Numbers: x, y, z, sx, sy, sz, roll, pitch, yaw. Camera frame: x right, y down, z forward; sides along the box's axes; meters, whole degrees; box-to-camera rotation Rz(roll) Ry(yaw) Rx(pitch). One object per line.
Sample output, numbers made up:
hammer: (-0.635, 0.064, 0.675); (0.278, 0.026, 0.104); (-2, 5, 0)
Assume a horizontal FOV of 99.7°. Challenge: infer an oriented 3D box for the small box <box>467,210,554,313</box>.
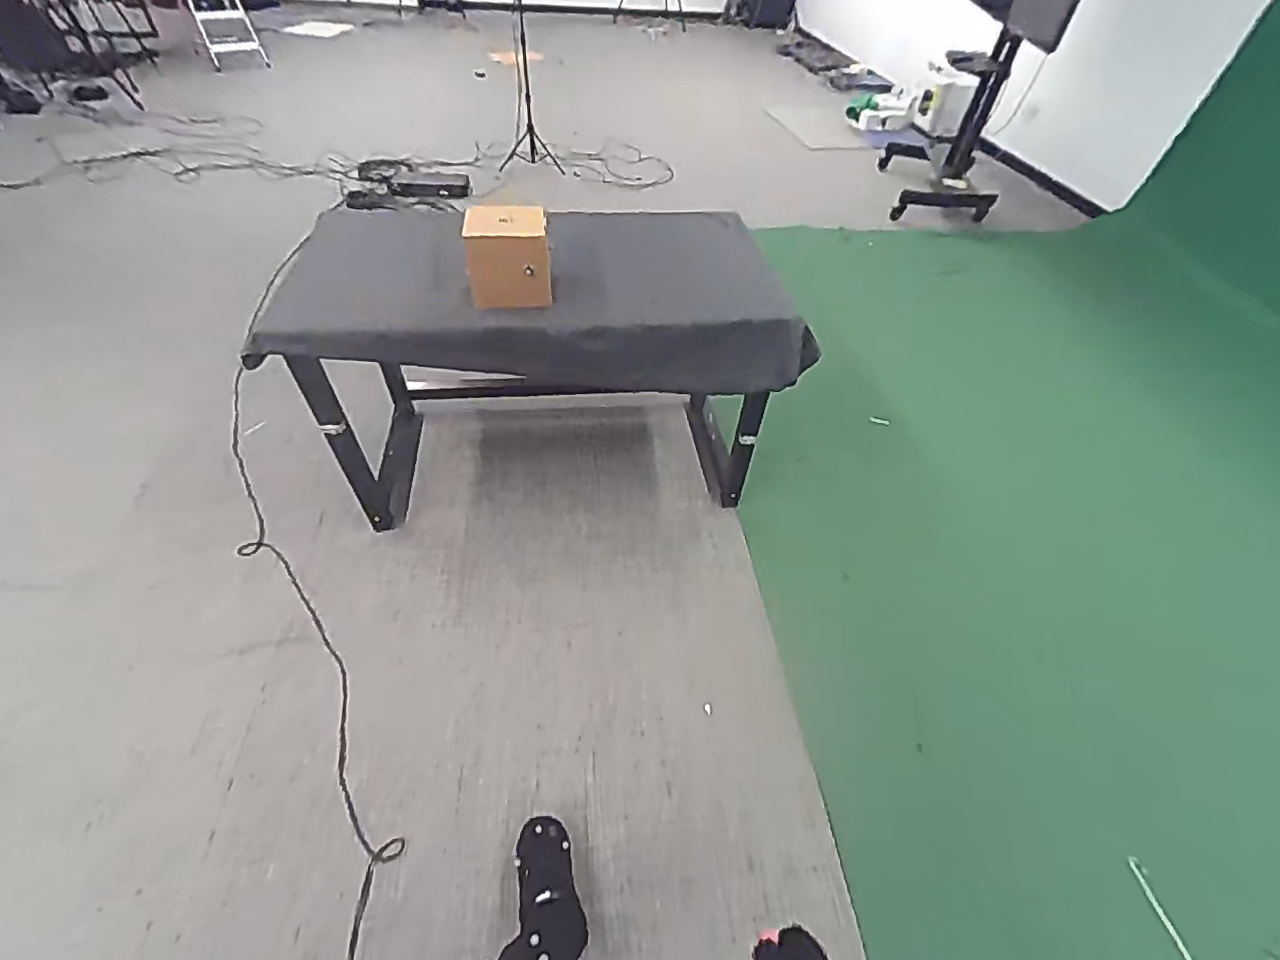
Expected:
small box: (-0.290, -0.503, 1.249); (0.179, 0.176, 0.168); (-5, 47, -7)
